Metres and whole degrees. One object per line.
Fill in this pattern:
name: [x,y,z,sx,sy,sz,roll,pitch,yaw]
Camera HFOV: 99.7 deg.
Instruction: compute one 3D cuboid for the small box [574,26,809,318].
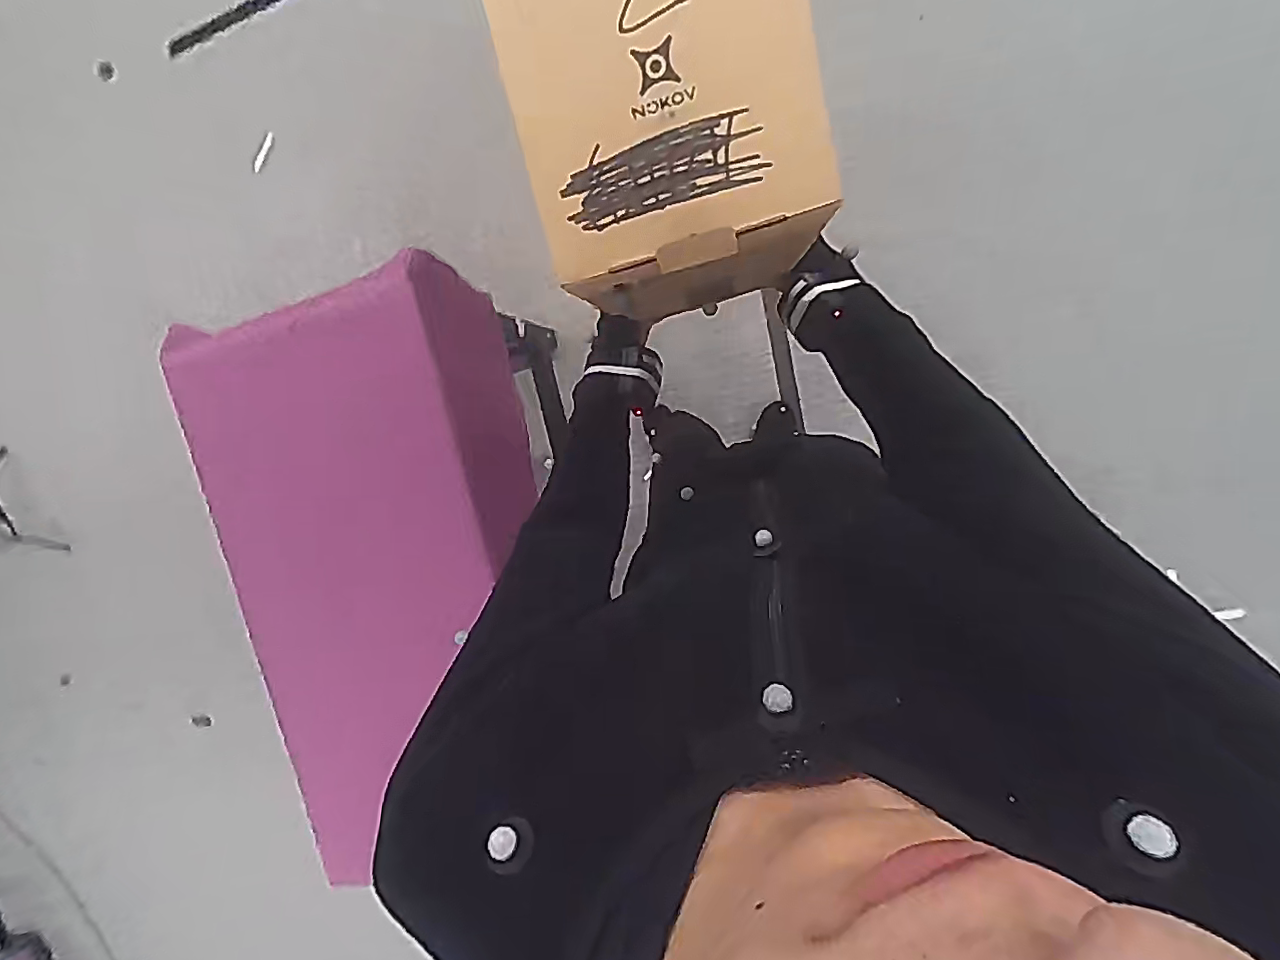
small box: [0.052,-0.269,0.522,0.168,0.176,0.179,-13,100,11]
